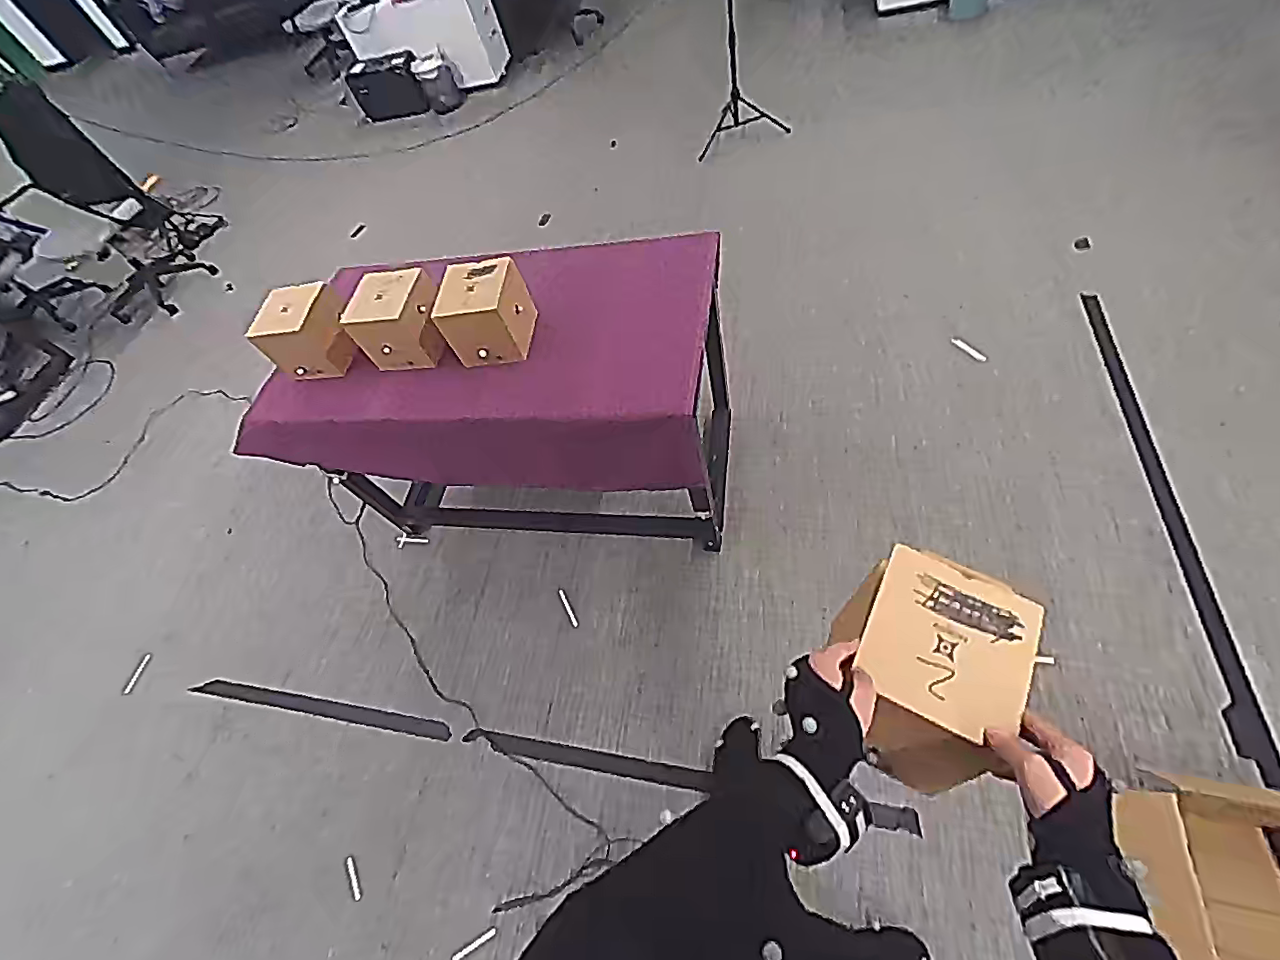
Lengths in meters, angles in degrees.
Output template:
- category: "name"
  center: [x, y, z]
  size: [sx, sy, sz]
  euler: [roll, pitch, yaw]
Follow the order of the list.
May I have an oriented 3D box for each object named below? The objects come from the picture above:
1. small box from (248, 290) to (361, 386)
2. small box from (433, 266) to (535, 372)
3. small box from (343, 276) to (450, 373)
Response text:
- category: "small box"
  center: [-0.869, -0.371, 1.432]
  size: [0.168, 0.176, 0.179]
  euler: [-2, 58, 13]
- category: "small box"
  center: [-0.367, -0.386, 1.313]
  size: [0.168, 0.176, 0.179]
  euler: [-3, 58, 13]
- category: "small box"
  center: [-0.602, -0.385, 1.372]
  size: [0.168, 0.176, 0.179]
  euler: [0, 58, 14]
